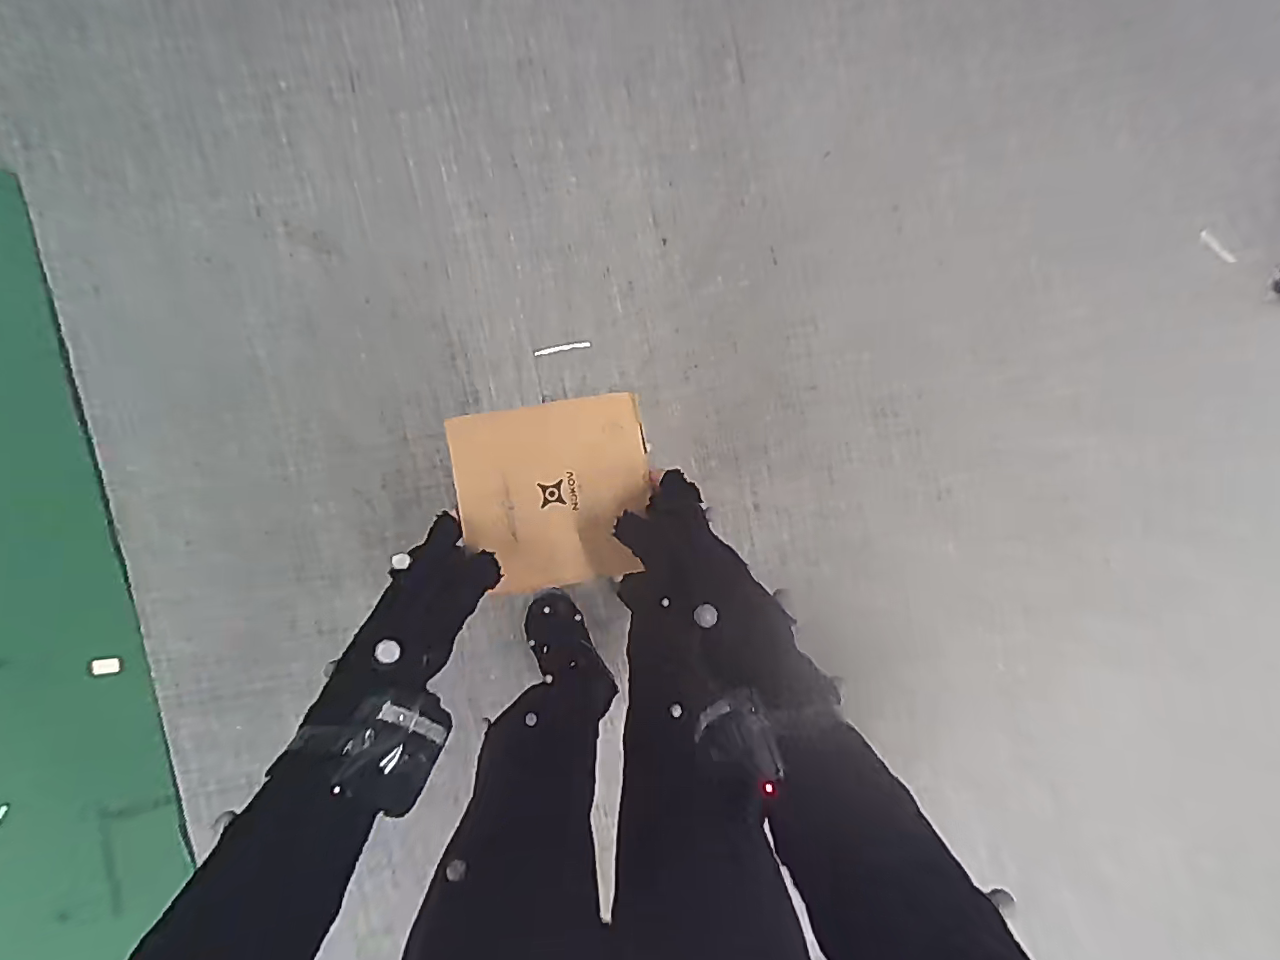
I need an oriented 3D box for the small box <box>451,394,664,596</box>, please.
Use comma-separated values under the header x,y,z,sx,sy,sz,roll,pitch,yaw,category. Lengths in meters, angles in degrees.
x,y,z,sx,sy,sz,roll,pitch,yaw,category
-0.081,0.016,0.579,0.179,0.176,0.168,-10,87,-4,small box
